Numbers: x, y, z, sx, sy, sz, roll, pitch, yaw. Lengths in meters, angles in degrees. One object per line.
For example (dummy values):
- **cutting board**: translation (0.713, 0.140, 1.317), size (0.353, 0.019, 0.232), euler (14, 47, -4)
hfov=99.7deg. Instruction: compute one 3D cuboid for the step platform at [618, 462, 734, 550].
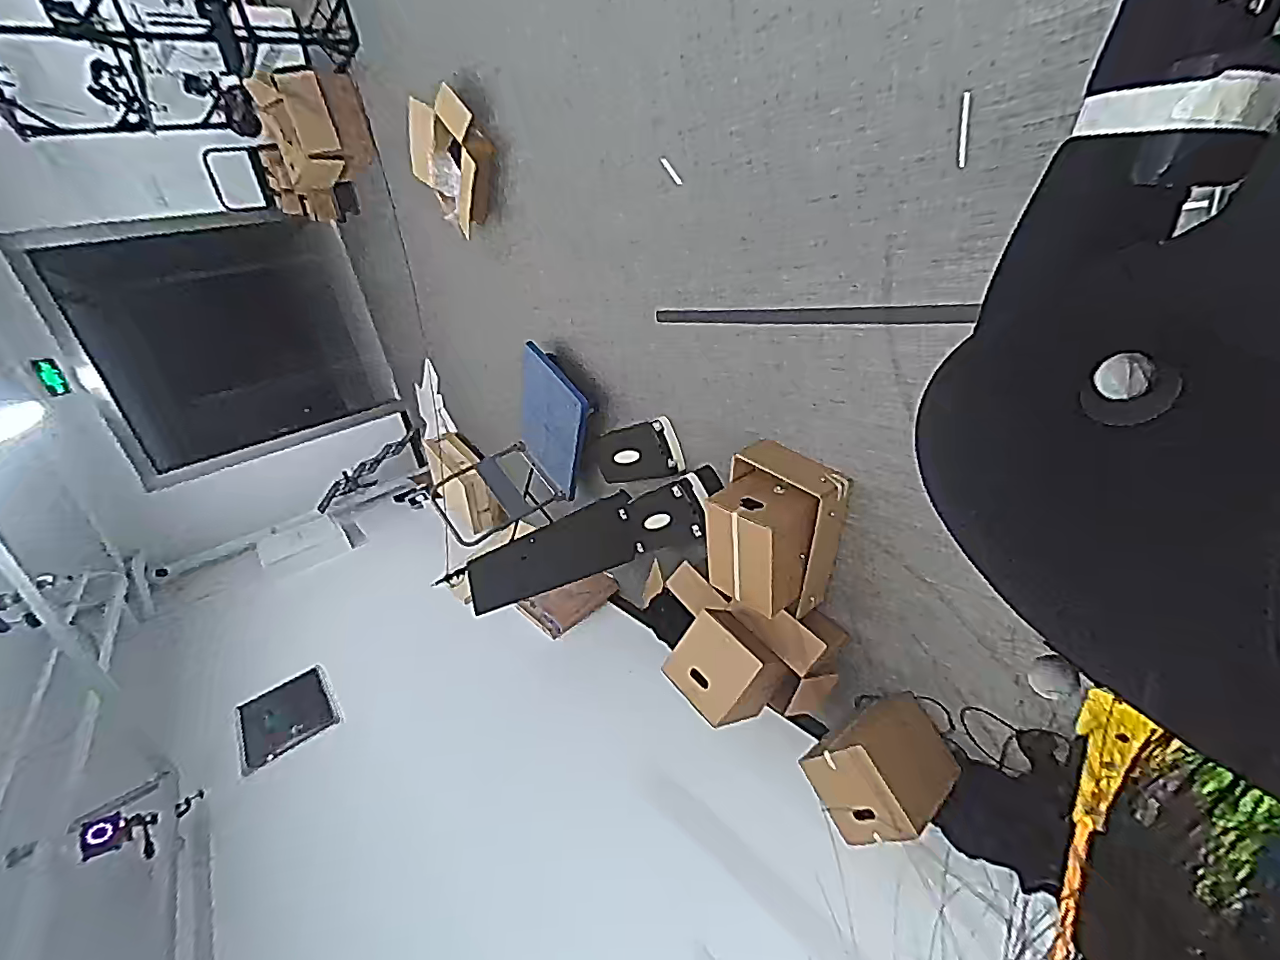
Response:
- **step platform**: translation (0.147, 0.146, 2.664), size (0.684, 0.204, 0.286), euler (-28, 89, 58)
